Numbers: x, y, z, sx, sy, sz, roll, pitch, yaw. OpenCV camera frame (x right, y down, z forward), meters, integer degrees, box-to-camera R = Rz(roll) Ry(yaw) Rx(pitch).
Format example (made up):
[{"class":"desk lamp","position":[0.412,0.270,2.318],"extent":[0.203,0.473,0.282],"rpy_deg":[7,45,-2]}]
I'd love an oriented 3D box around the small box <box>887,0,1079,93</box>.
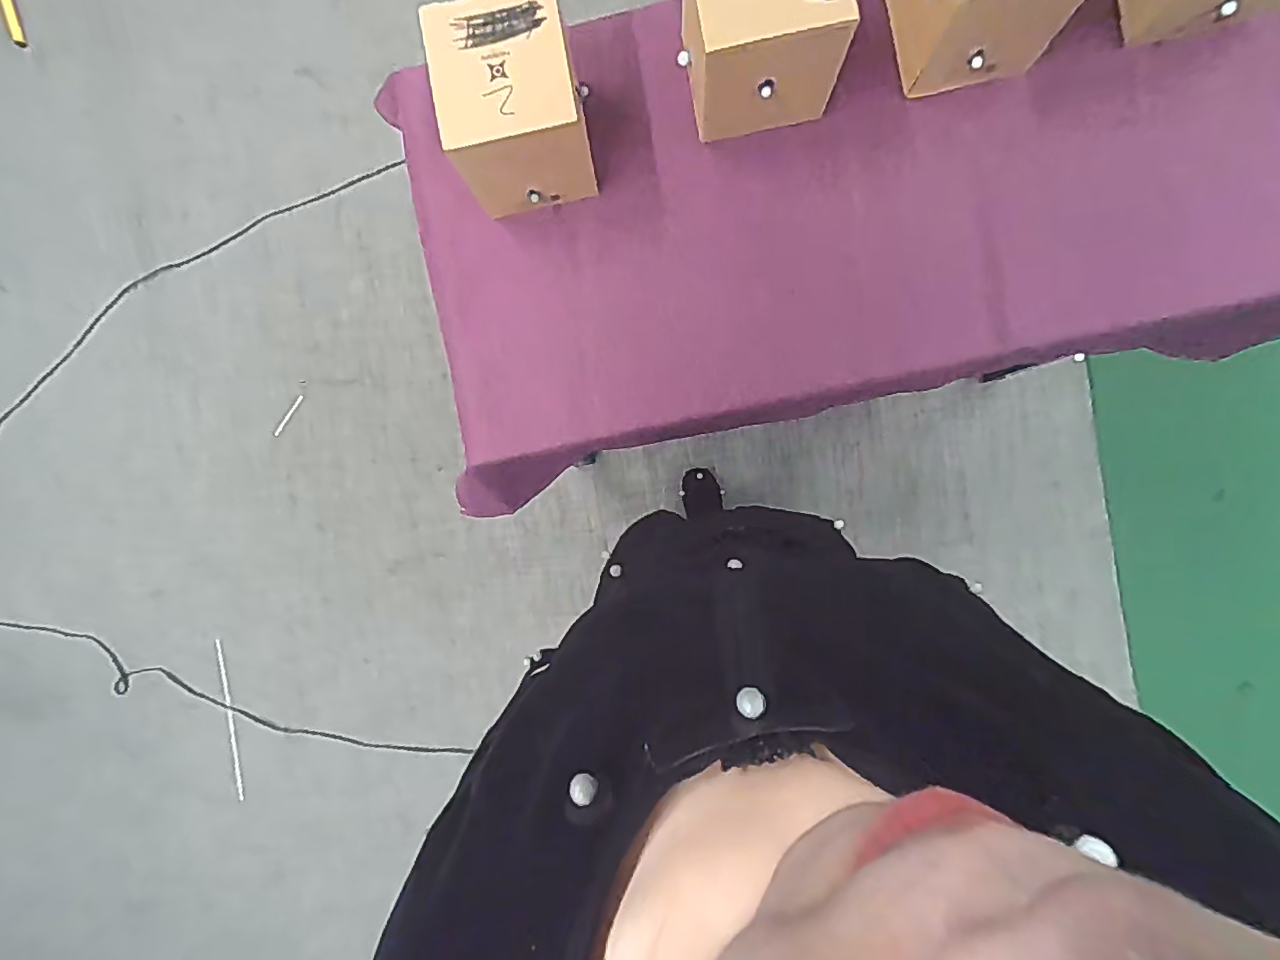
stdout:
[{"class":"small box","position":[0.426,-0.635,0.669],"extent":[0.168,0.176,0.179],"rpy_deg":[-11,90,5]}]

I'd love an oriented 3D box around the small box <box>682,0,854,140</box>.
[{"class":"small box","position":[0.150,-0.578,0.691],"extent":[0.179,0.176,0.168],"rpy_deg":[-9,89,6]}]

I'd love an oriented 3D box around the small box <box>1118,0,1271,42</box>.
[{"class":"small box","position":[0.710,-0.680,0.639],"extent":[0.168,0.176,0.179],"rpy_deg":[-9,92,6]}]
